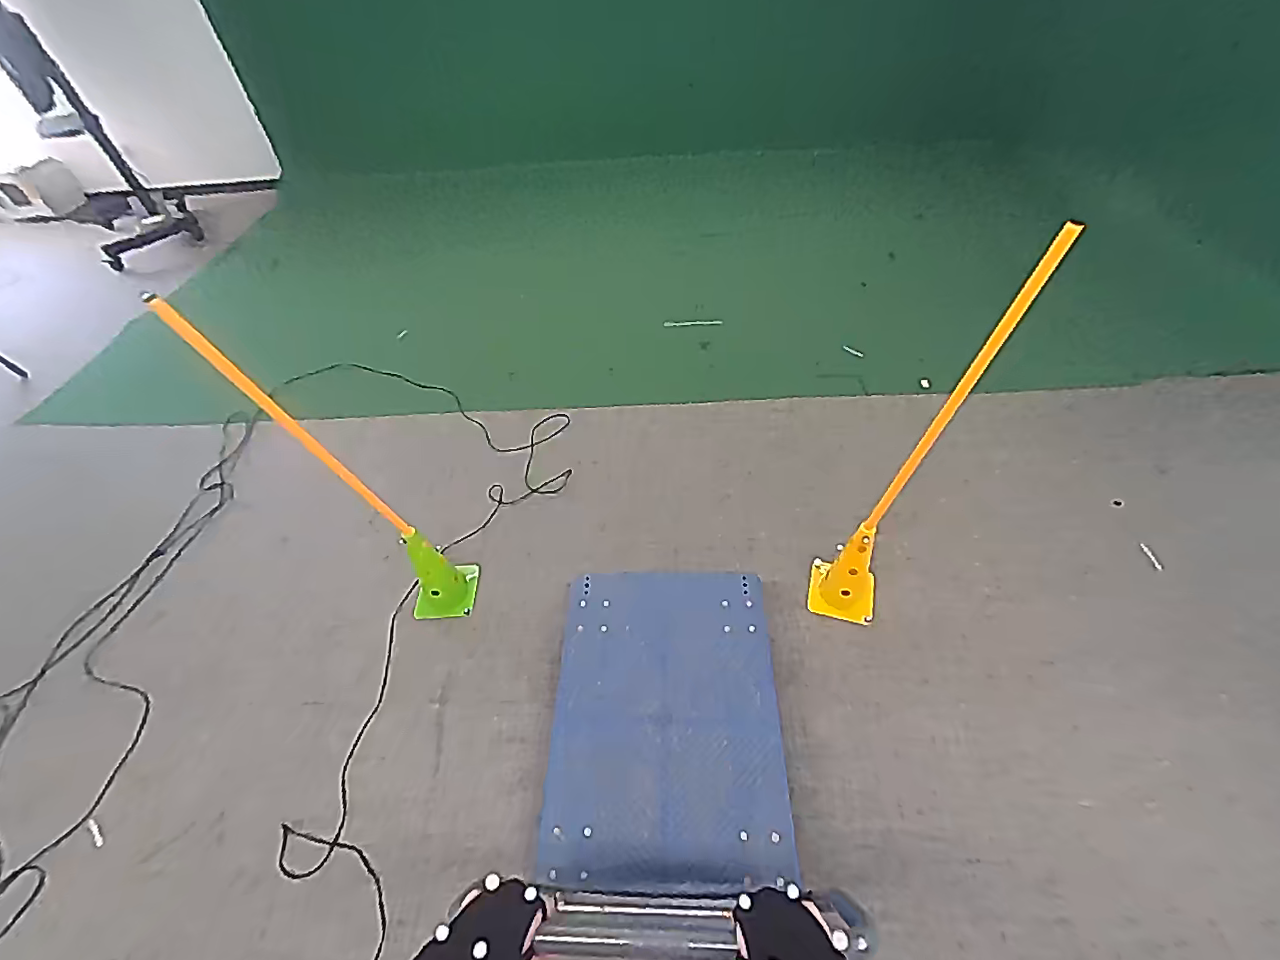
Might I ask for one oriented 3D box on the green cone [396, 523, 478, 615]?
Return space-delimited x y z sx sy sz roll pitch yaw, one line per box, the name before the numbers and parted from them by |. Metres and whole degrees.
green cone | -0.687 0.257 1.746 0.202 0.368 0.200 -6 48 2
